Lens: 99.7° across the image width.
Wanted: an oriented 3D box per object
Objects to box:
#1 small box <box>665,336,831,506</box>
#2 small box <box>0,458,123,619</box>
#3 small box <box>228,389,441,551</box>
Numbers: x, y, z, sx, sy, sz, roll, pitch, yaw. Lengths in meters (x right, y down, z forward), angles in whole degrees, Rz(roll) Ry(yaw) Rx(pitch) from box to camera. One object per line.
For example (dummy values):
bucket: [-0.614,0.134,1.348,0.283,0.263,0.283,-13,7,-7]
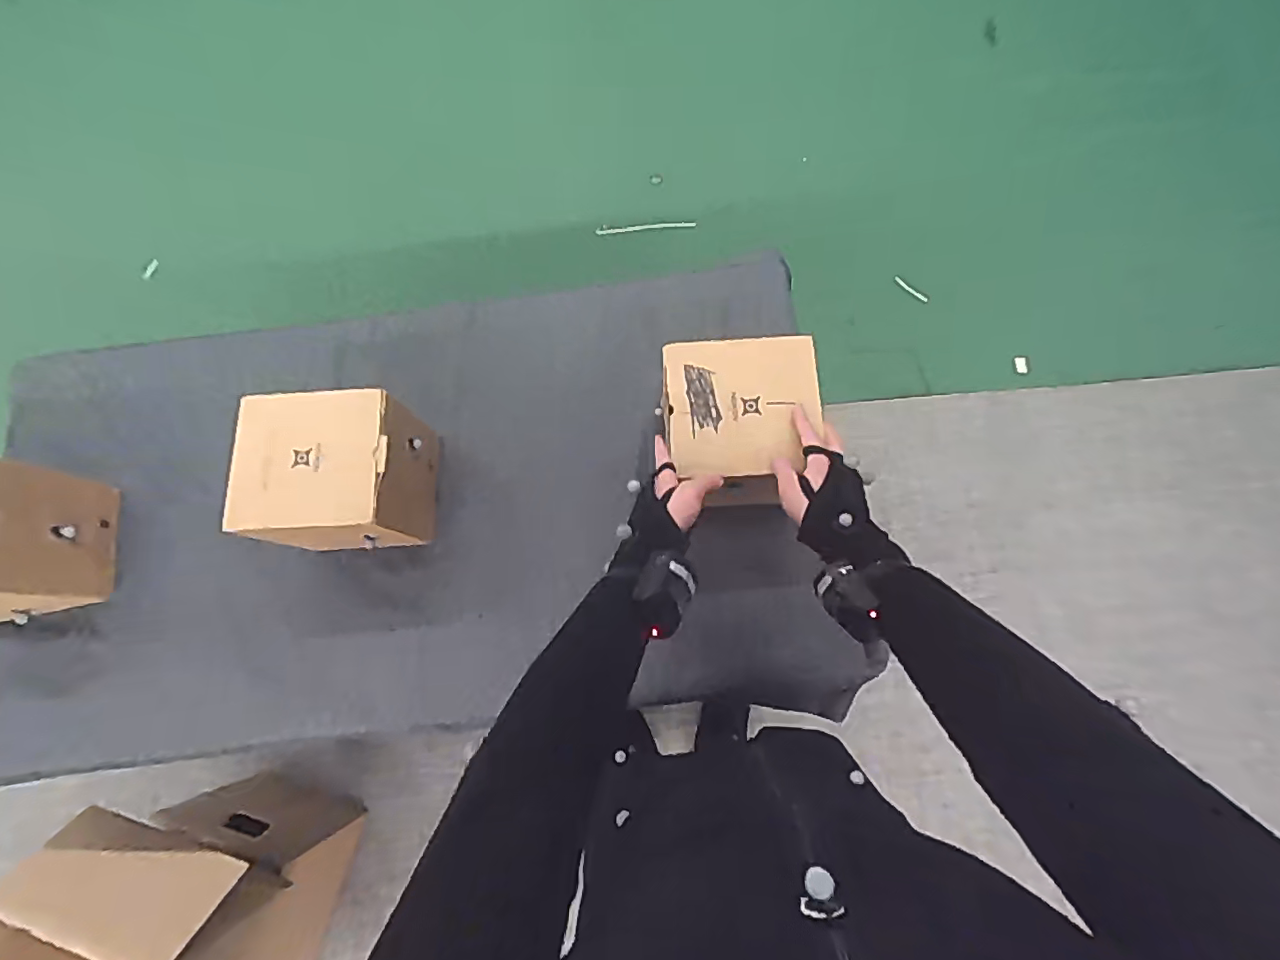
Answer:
small box: [0.123,-0.064,0.684,0.179,0.176,0.168,-3,75,2]
small box: [-0.829,0.083,0.698,0.179,0.176,0.168,-11,75,-1]
small box: [-0.375,-0.004,0.699,0.179,0.176,0.168,-4,74,3]
